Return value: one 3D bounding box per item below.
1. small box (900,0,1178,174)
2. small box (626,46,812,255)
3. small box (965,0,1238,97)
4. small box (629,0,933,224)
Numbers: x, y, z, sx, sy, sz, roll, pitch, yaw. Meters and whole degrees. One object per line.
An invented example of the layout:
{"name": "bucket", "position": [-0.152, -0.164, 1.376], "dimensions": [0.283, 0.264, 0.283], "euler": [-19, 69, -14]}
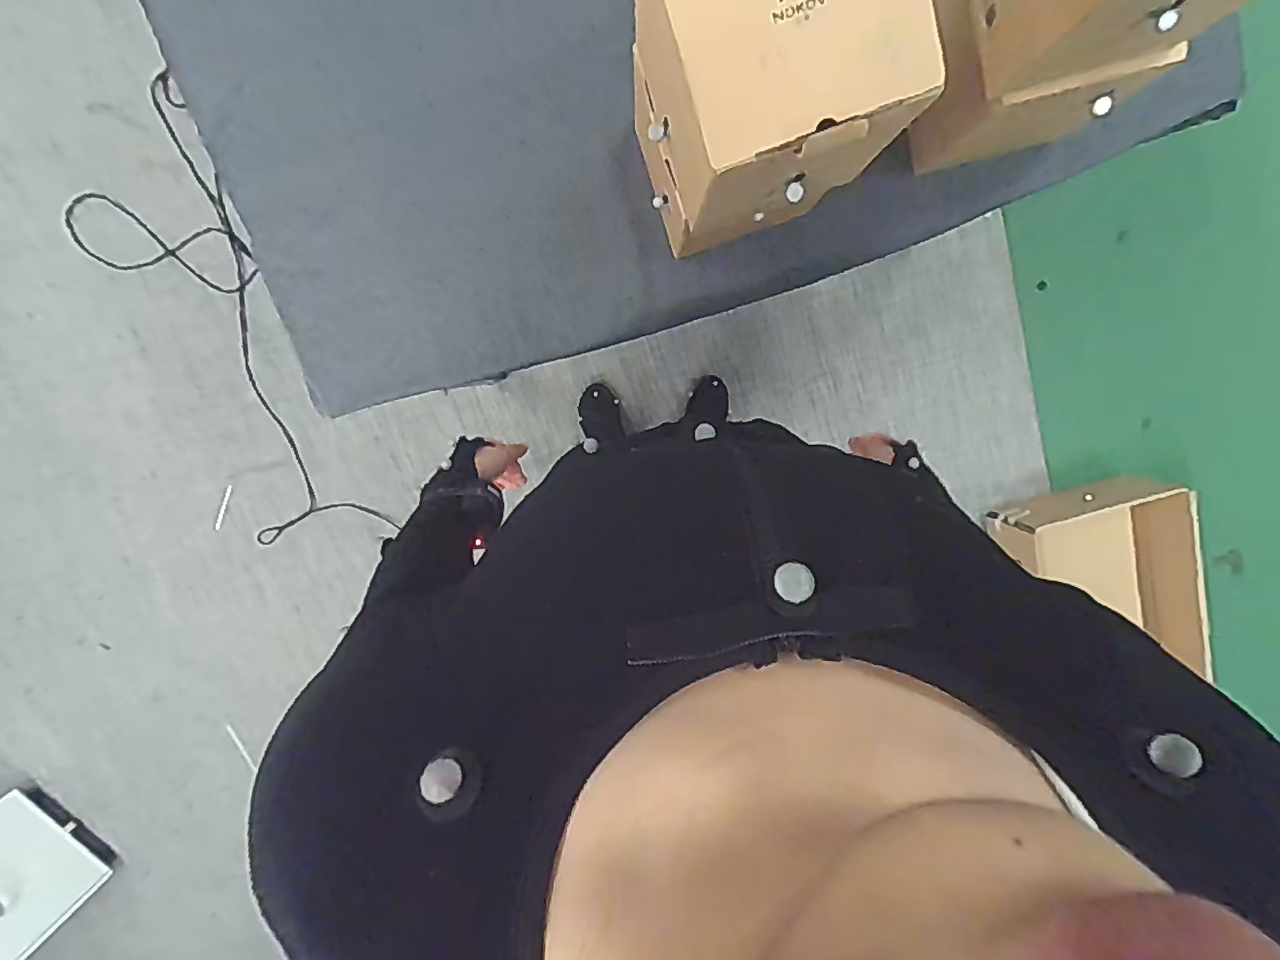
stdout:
{"name": "small box", "position": [0.395, -0.454, 0.567], "dimensions": [0.179, 0.176, 0.168], "euler": [-13, 99, 3]}
{"name": "small box", "position": [0.093, -0.366, 0.588], "dimensions": [0.179, 0.176, 0.168], "euler": [-19, 101, 2]}
{"name": "small box", "position": [0.377, -0.434, 0.404], "dimensions": [0.179, 0.176, 0.168], "euler": [-14, 99, 4]}
{"name": "small box", "position": [0.094, -0.324, 0.428], "dimensions": [0.168, 0.176, 0.179], "euler": [-18, 101, 4]}
